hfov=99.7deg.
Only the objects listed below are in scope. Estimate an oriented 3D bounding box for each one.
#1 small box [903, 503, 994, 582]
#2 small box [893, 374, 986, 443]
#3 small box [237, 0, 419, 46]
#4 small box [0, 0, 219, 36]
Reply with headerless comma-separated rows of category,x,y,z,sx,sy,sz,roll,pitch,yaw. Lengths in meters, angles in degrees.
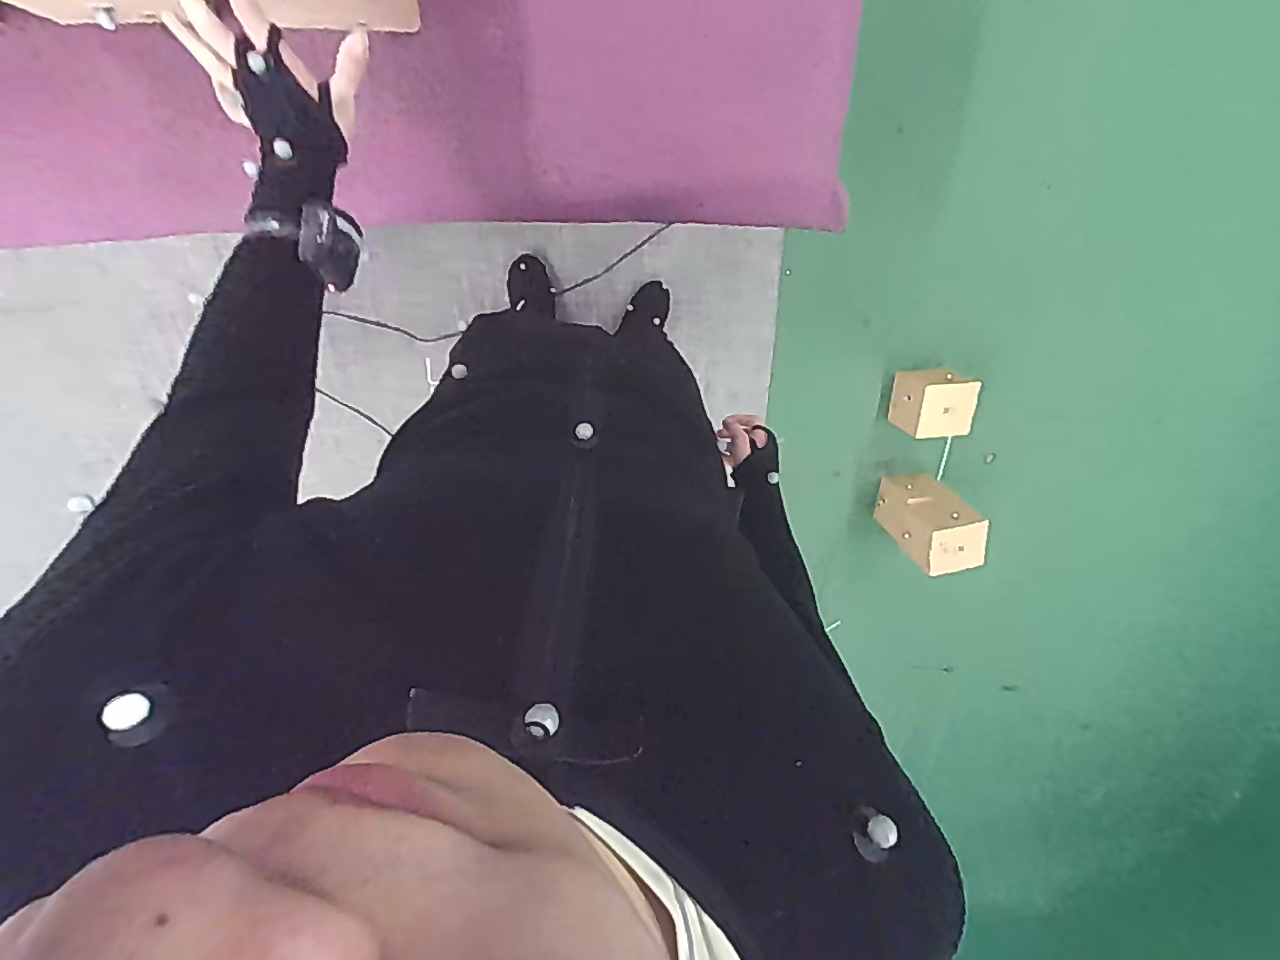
small box,0.946,0.187,1.671,0.179,0.176,0.168,-12,116,-1
small box,0.905,-0.222,1.654,0.179,0.176,0.168,-5,116,-6
small box,-0.328,-0.556,0.521,0.168,0.176,0.179,-3,115,-6
small box,-0.548,-0.544,0.499,0.168,0.176,0.179,-5,117,-5
